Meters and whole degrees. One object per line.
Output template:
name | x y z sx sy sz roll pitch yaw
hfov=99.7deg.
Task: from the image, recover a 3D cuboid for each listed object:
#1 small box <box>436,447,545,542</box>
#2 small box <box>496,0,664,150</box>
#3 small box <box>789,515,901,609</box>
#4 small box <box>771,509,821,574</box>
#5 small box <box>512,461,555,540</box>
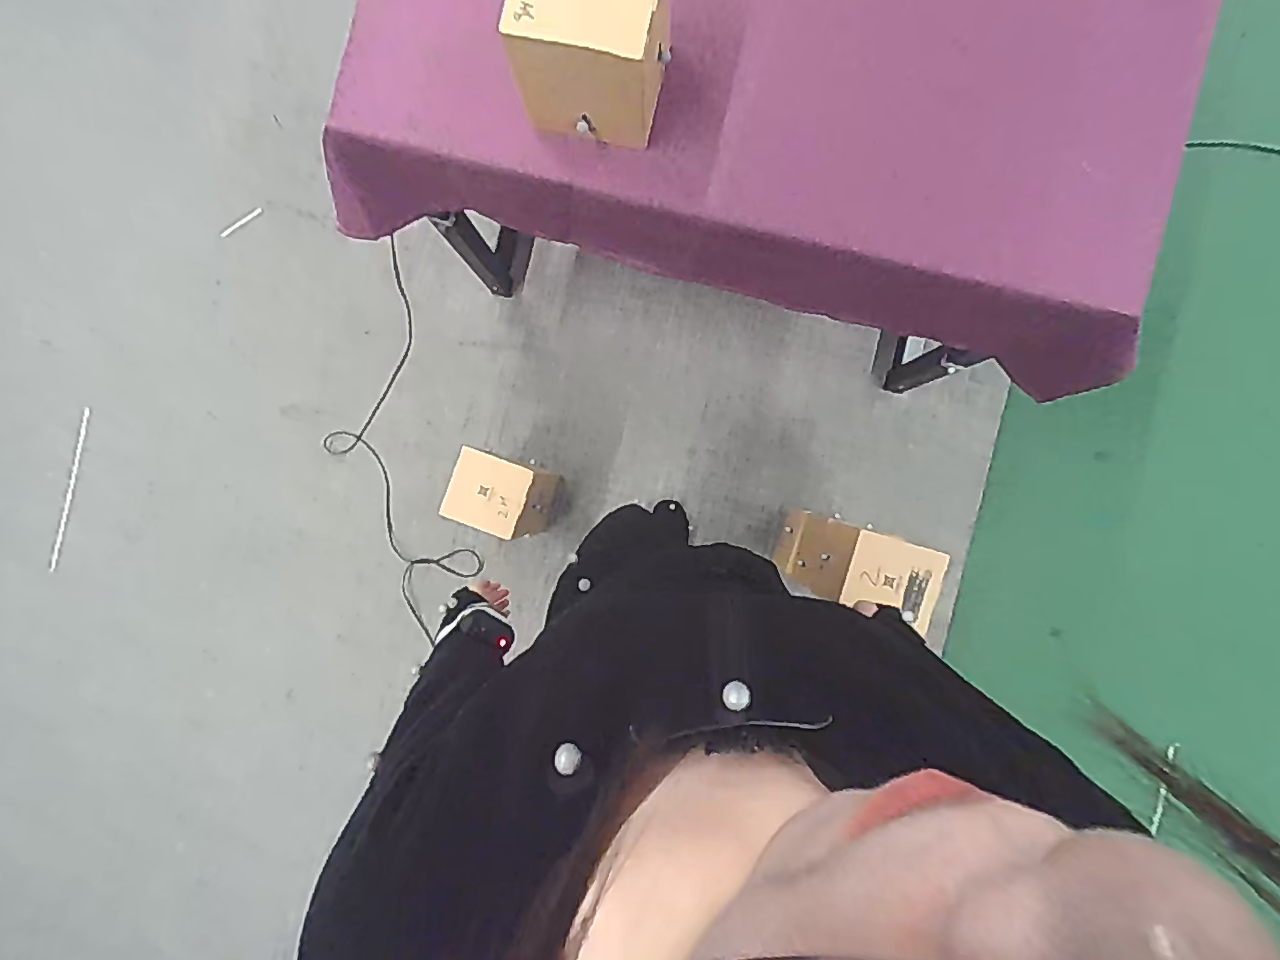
small box | -0.343 0.034 1.274 0.179 0.176 0.168 20 90 1
small box | -0.067 -0.572 0.710 0.179 0.176 0.168 13 89 1
small box | 0.466 0.182 1.257 0.179 0.176 0.168 15 91 0
small box | 0.461 0.180 1.420 0.179 0.176 0.168 18 90 1
small box | -0.334 0.046 1.438 0.168 0.176 0.179 17 89 1
